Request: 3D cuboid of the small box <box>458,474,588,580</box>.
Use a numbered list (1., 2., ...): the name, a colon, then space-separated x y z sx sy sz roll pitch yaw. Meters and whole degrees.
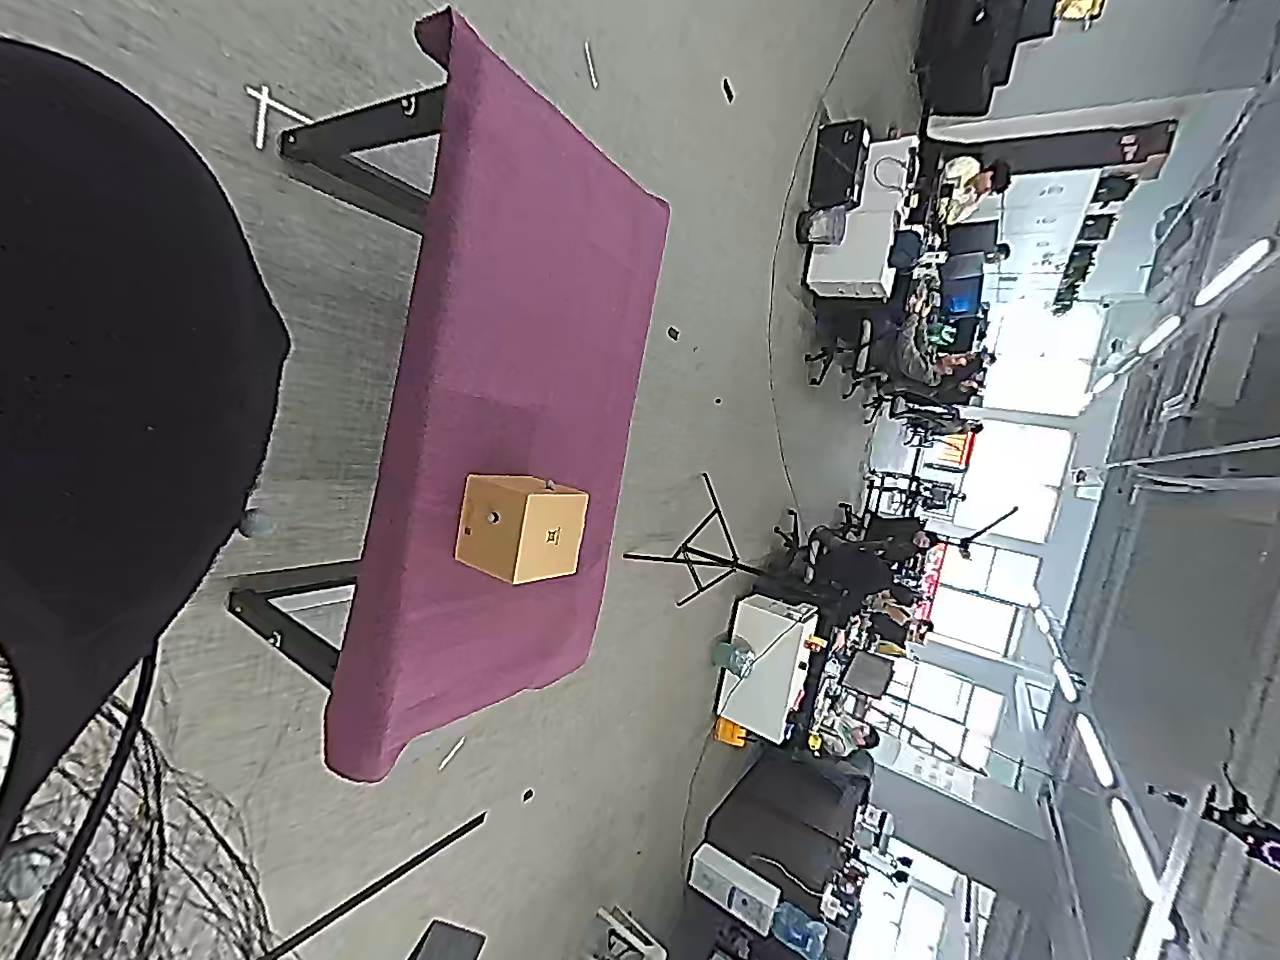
1. small box: -0.230 0.086 1.057 0.179 0.176 0.168 2 100 -58
